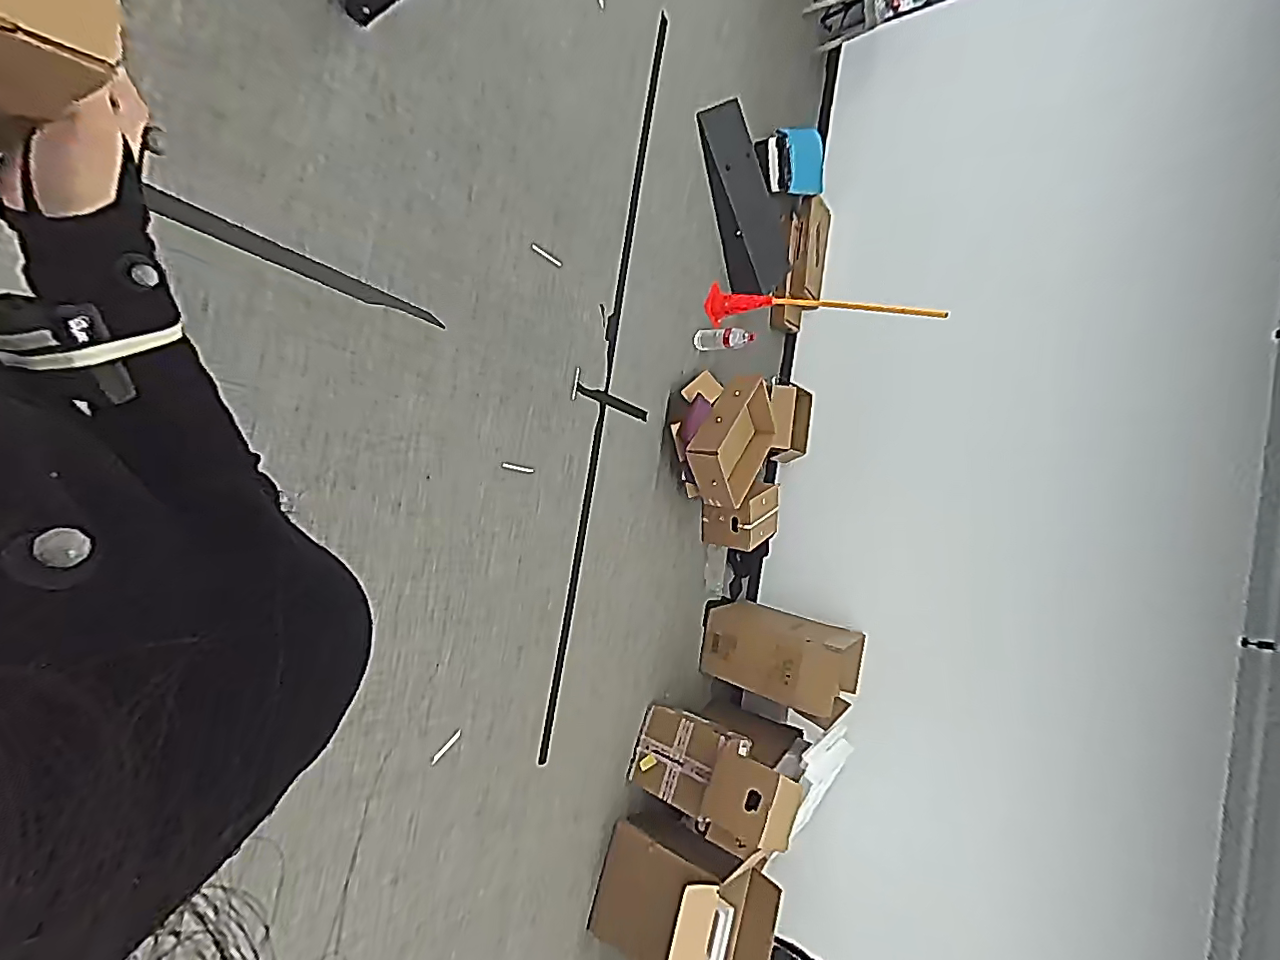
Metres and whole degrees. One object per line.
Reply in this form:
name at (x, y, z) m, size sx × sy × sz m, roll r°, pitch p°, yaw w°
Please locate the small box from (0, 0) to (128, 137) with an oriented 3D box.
small box at (-0.319, -0.251, 0.185) m, size 0.168 × 0.176 × 0.179 m, roll -12°, pitch 107°, yaw -60°
